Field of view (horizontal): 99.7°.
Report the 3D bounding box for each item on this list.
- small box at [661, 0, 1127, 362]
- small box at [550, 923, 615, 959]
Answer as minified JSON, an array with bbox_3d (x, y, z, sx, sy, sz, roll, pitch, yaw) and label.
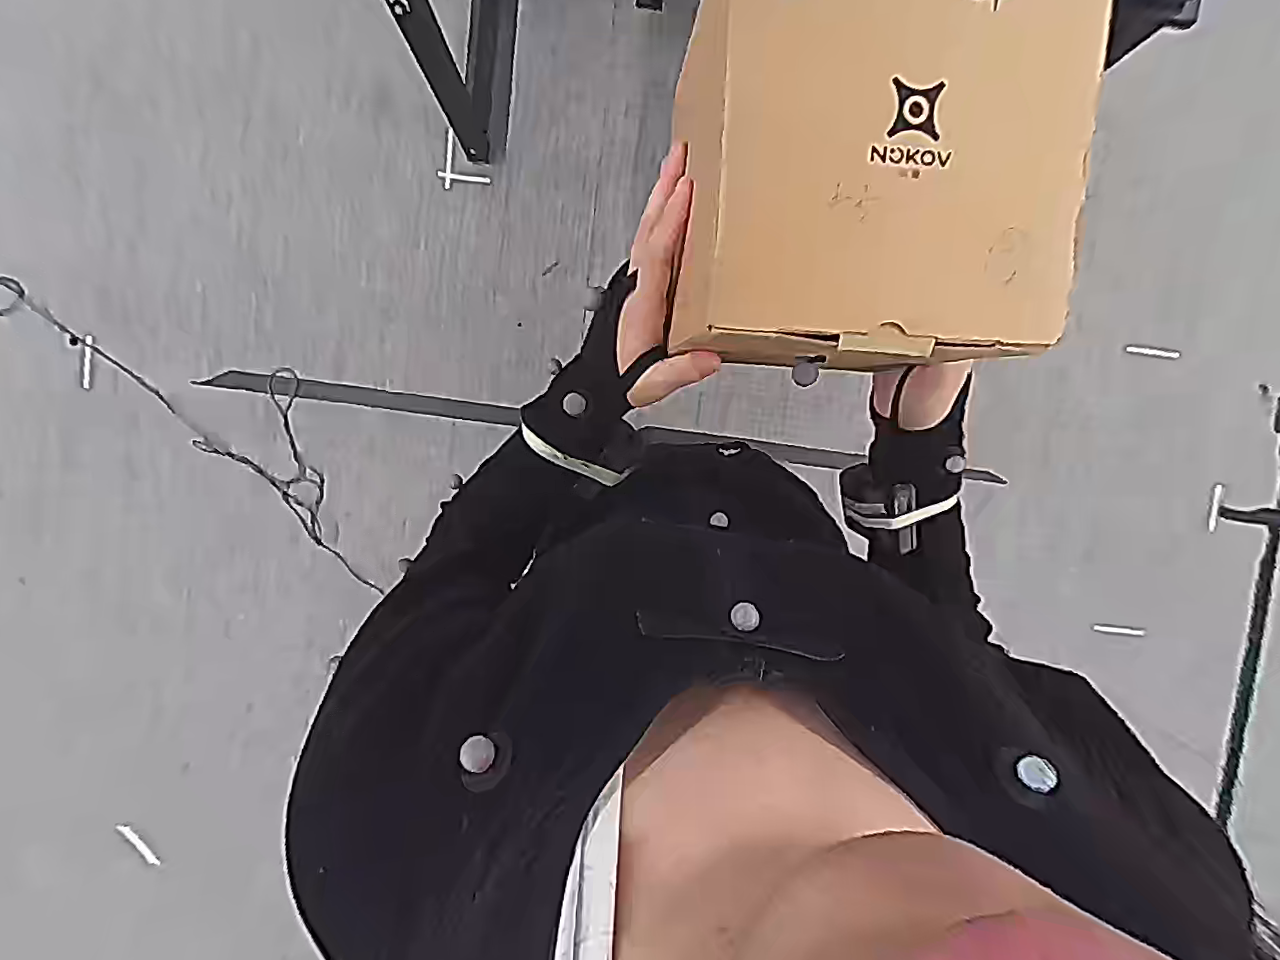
[{"bbox_3d":[0.106,-0.160,0.302,0.168,0.176,0.179,2,99,-7],"label":"small box"},{"bbox_3d":[-0.166,1.364,1.481,0.179,0.176,0.168,8,93,-5],"label":"small box"}]
